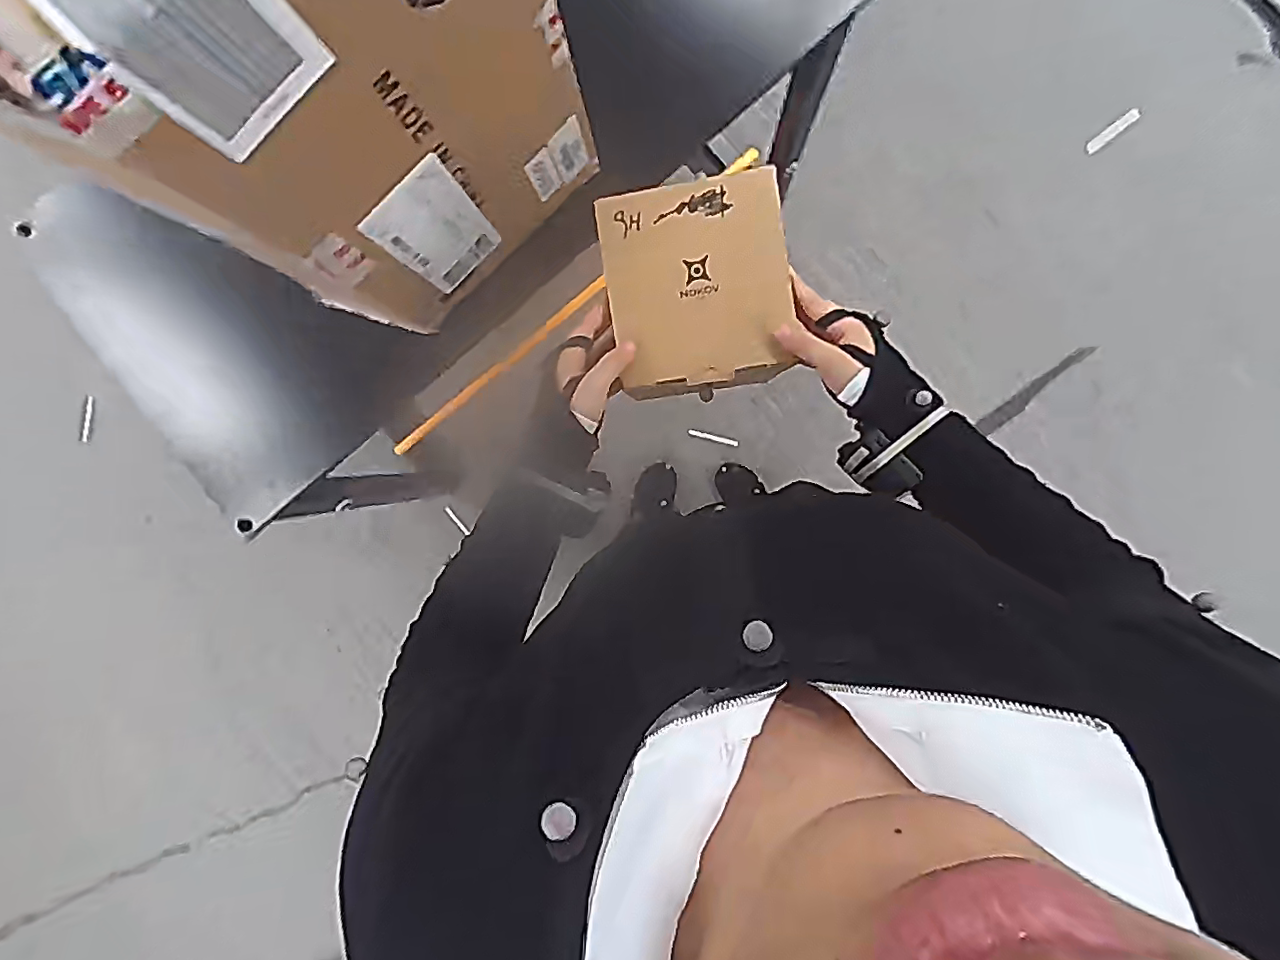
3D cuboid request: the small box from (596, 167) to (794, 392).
[{"bbox_3d":[0.058,-0.189,0.568,0.168,0.176,0.179,-7,96,5],"label":"small box"}]
